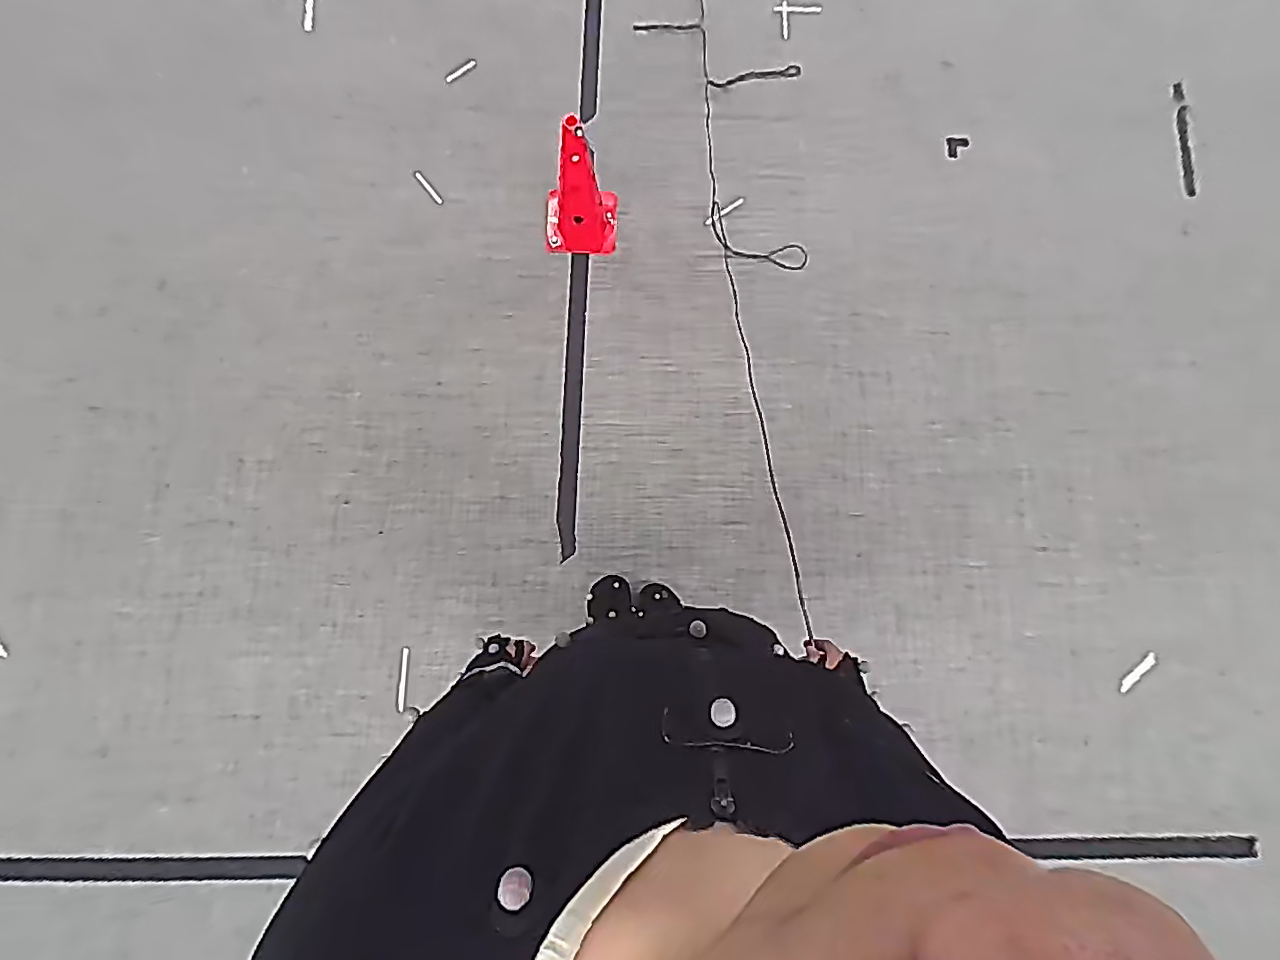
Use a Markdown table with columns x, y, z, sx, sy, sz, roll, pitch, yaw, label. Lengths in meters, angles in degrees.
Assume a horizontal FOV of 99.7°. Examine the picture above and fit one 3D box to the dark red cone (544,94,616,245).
| x | y | z | sx | sy | sz | roll | pitch | yaw | label |
| --- | --- | --- | --- | --- | --- | --- | --- | --- | --- |
| -0.159 | -0.782 | 1.359 | 0.201 | 0.394 | 0.202 | 1 | 80 | -3 | dark red cone |
